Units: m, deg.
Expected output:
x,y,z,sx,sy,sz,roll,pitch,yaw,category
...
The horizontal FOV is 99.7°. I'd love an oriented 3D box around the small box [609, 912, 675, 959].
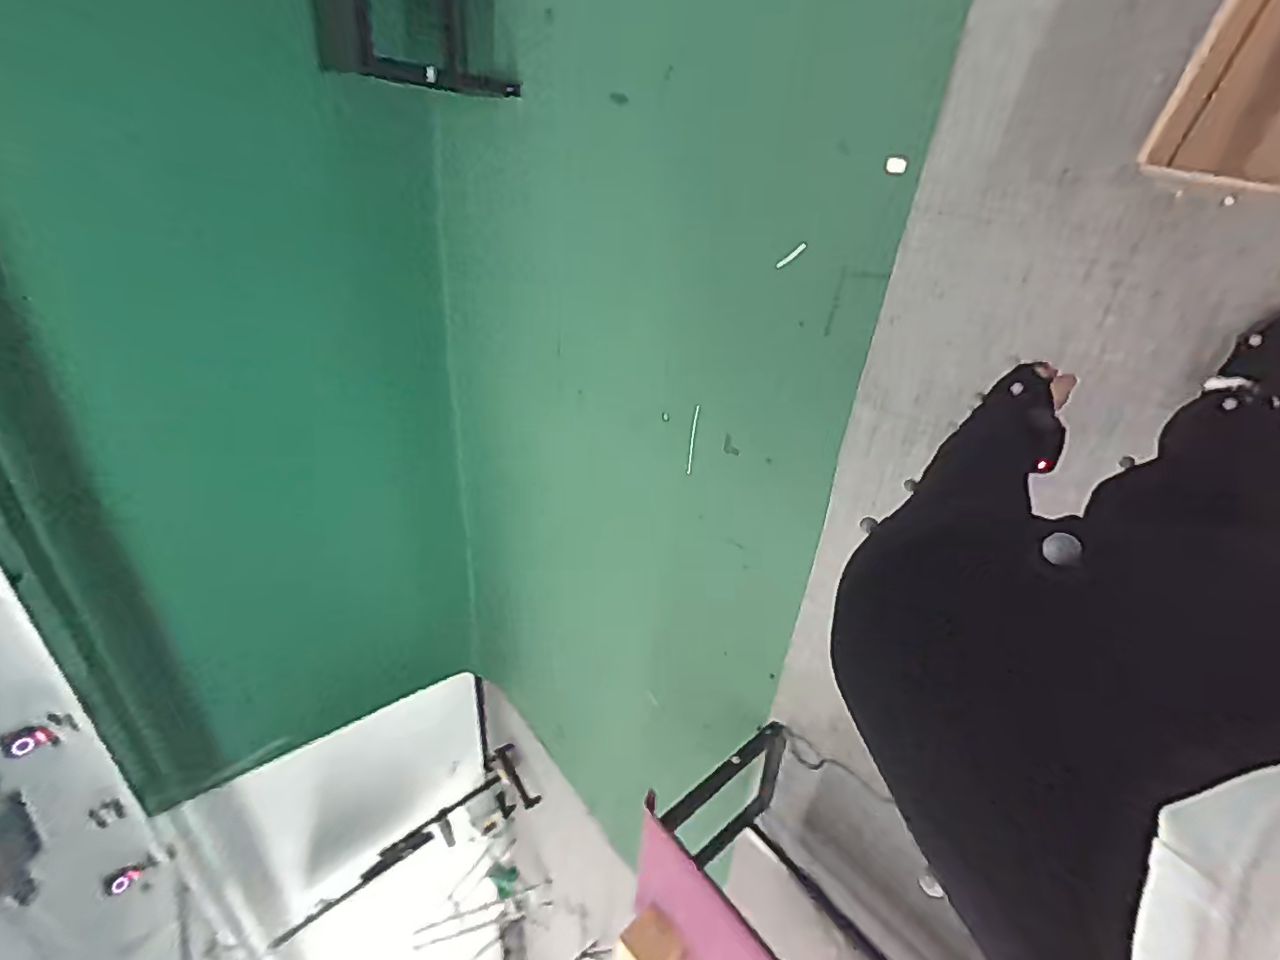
x,y,z,sx,sy,sz,roll,pitch,yaw,category
0.006,1.708,1.924,0.168,0.176,0.179,28,124,38,small box
